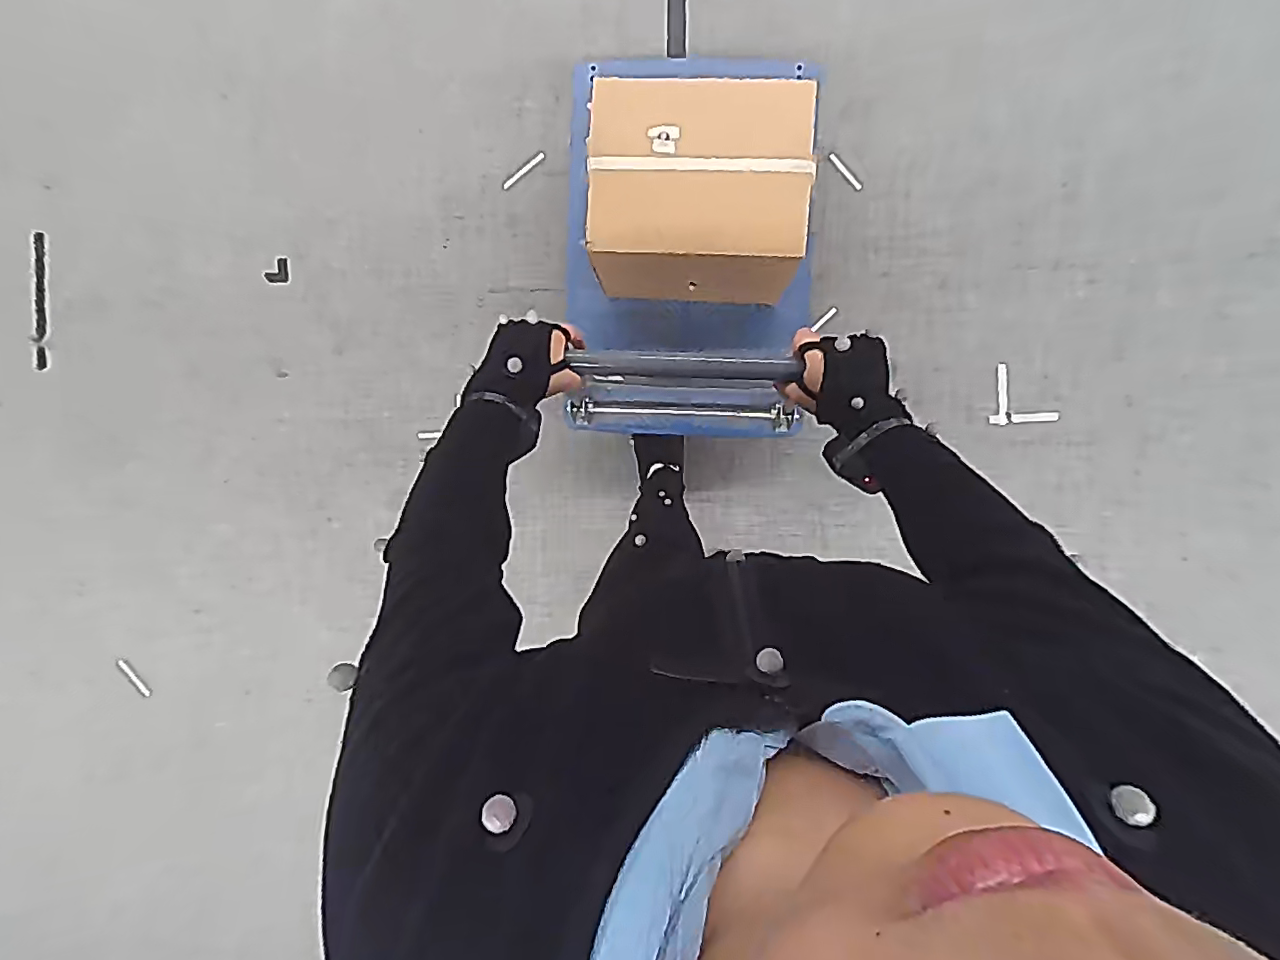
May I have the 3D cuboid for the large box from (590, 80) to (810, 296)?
[{"bbox_3d":[0.121,-0.588,1.151,0.408,0.320,0.320,3,92,5],"label":"large box"}]
